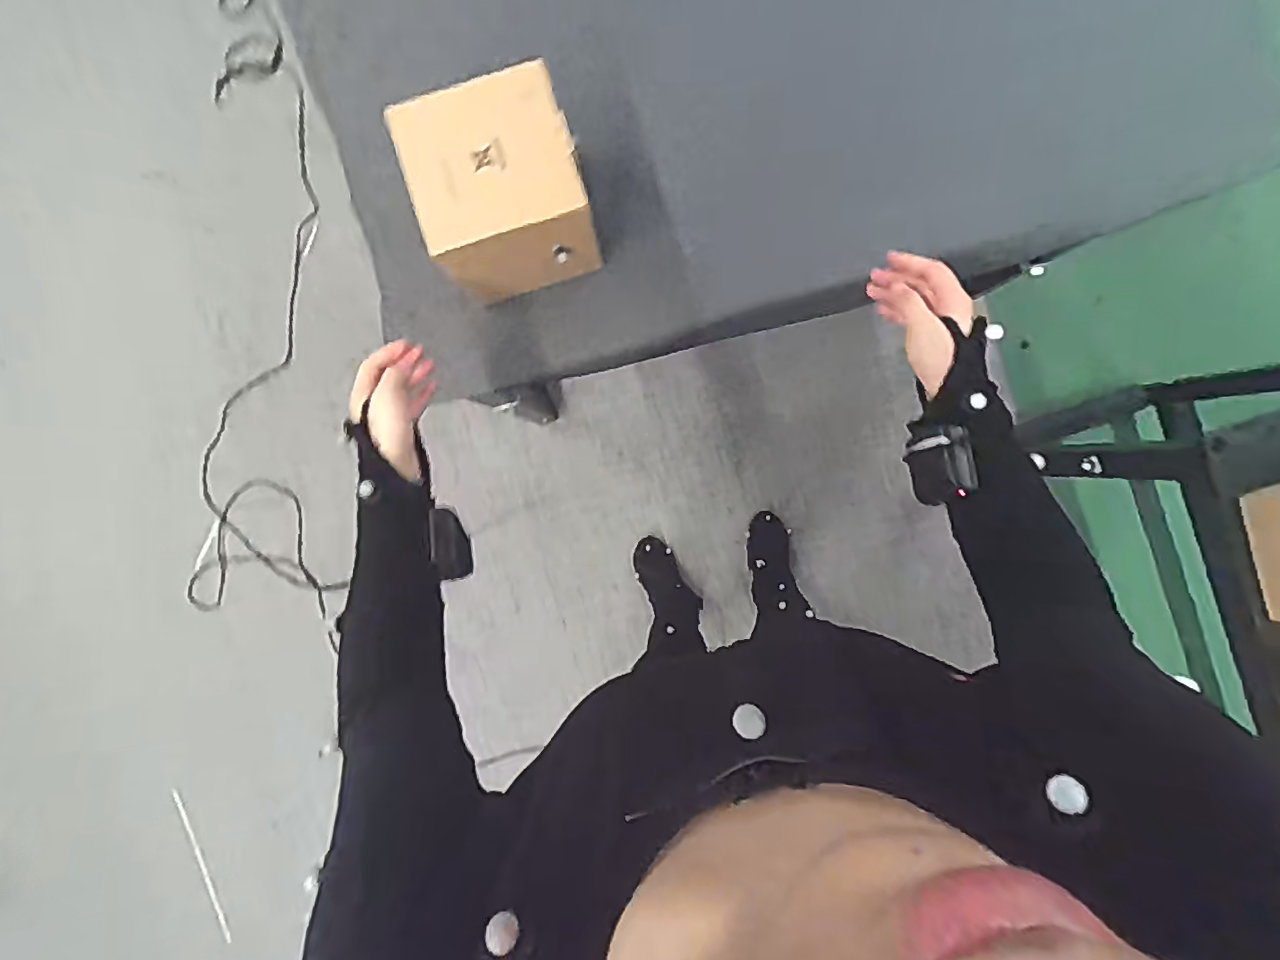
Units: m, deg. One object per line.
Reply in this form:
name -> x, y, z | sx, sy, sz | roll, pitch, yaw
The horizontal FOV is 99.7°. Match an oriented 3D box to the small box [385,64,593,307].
small box -> -0.161, -0.332, 0.646 | 0.179, 0.176, 0.168 | -19, 88, 2
